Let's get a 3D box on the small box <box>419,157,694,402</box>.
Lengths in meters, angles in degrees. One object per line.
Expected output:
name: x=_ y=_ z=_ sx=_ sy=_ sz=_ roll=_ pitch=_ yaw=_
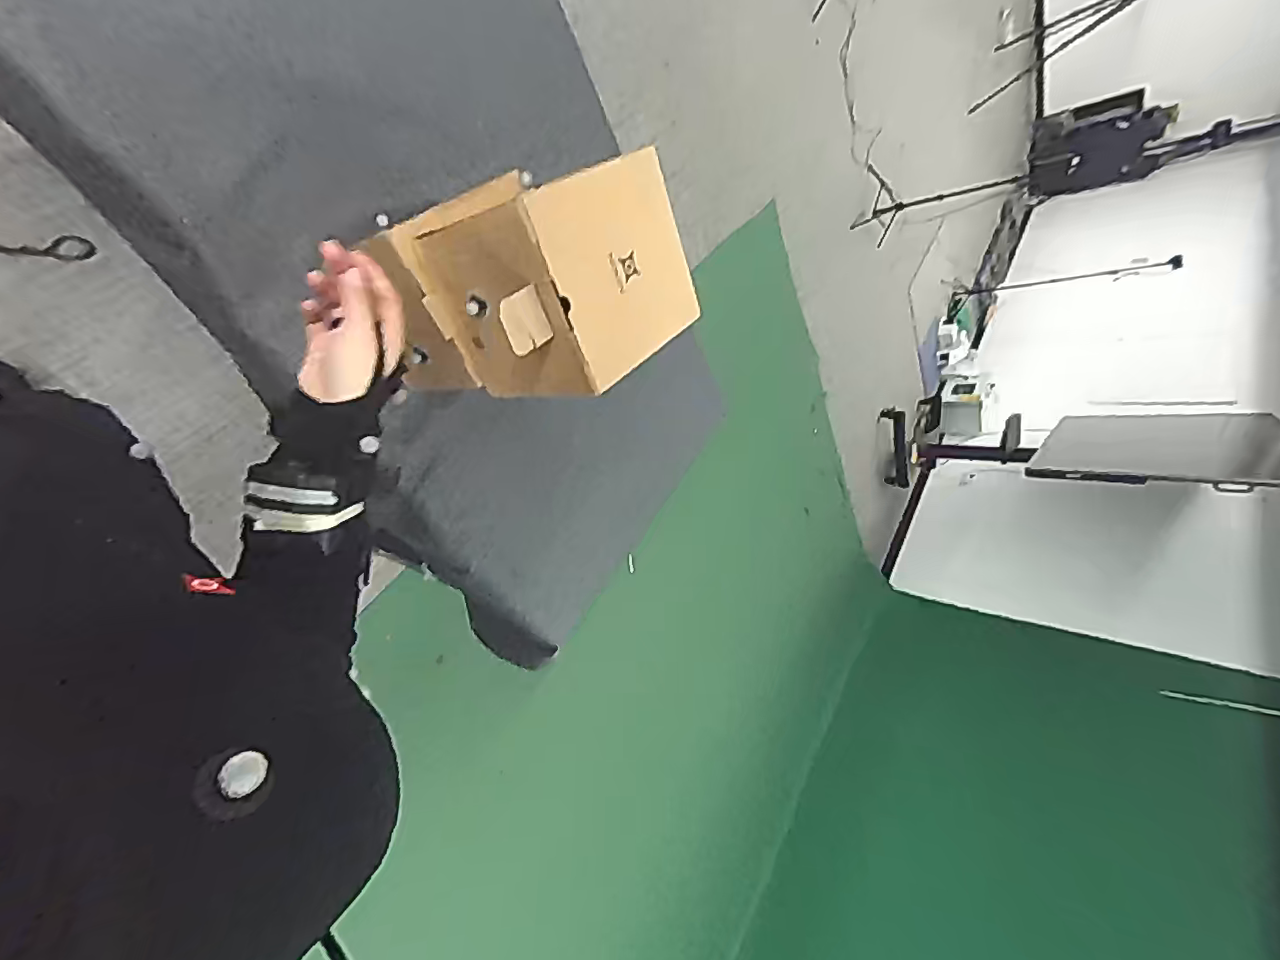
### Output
small box: x=-0.077 y=-0.192 z=0.536 sx=0.179 sy=0.176 sz=0.168 roll=-45 pitch=128 yaw=-35

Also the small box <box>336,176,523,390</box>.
small box: x=-0.214 y=-0.216 z=0.623 sx=0.179 sy=0.176 sz=0.168 roll=-50 pitch=131 yaw=-33
